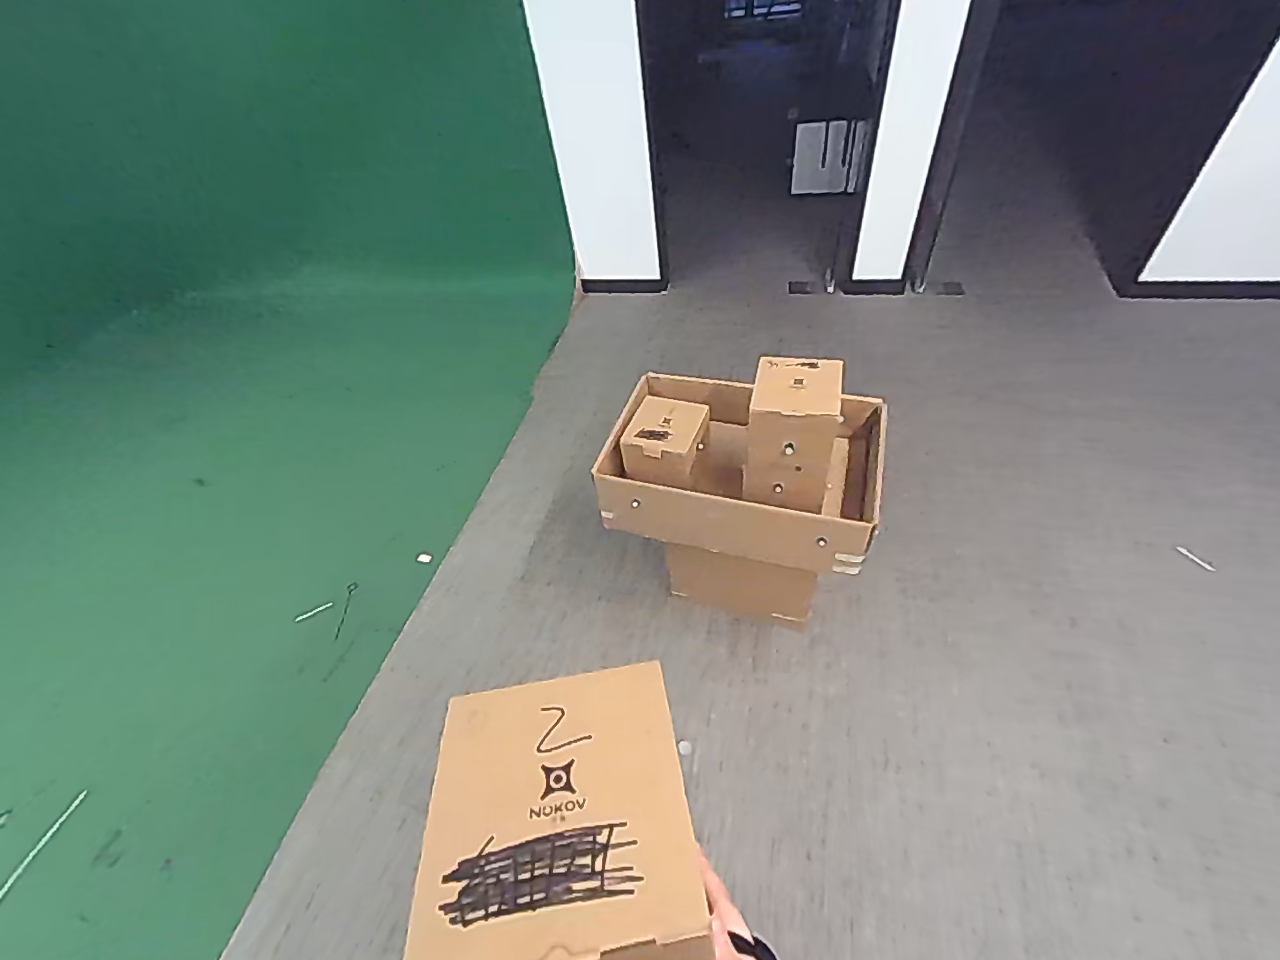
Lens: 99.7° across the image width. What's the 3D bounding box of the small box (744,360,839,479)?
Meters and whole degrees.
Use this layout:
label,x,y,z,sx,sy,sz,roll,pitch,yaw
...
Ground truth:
label,x,y,z,sx,sy,sz,roll,pitch,yaw
small box,0.310,-0.123,1.117,0.168,0.176,0.179,8,50,15
